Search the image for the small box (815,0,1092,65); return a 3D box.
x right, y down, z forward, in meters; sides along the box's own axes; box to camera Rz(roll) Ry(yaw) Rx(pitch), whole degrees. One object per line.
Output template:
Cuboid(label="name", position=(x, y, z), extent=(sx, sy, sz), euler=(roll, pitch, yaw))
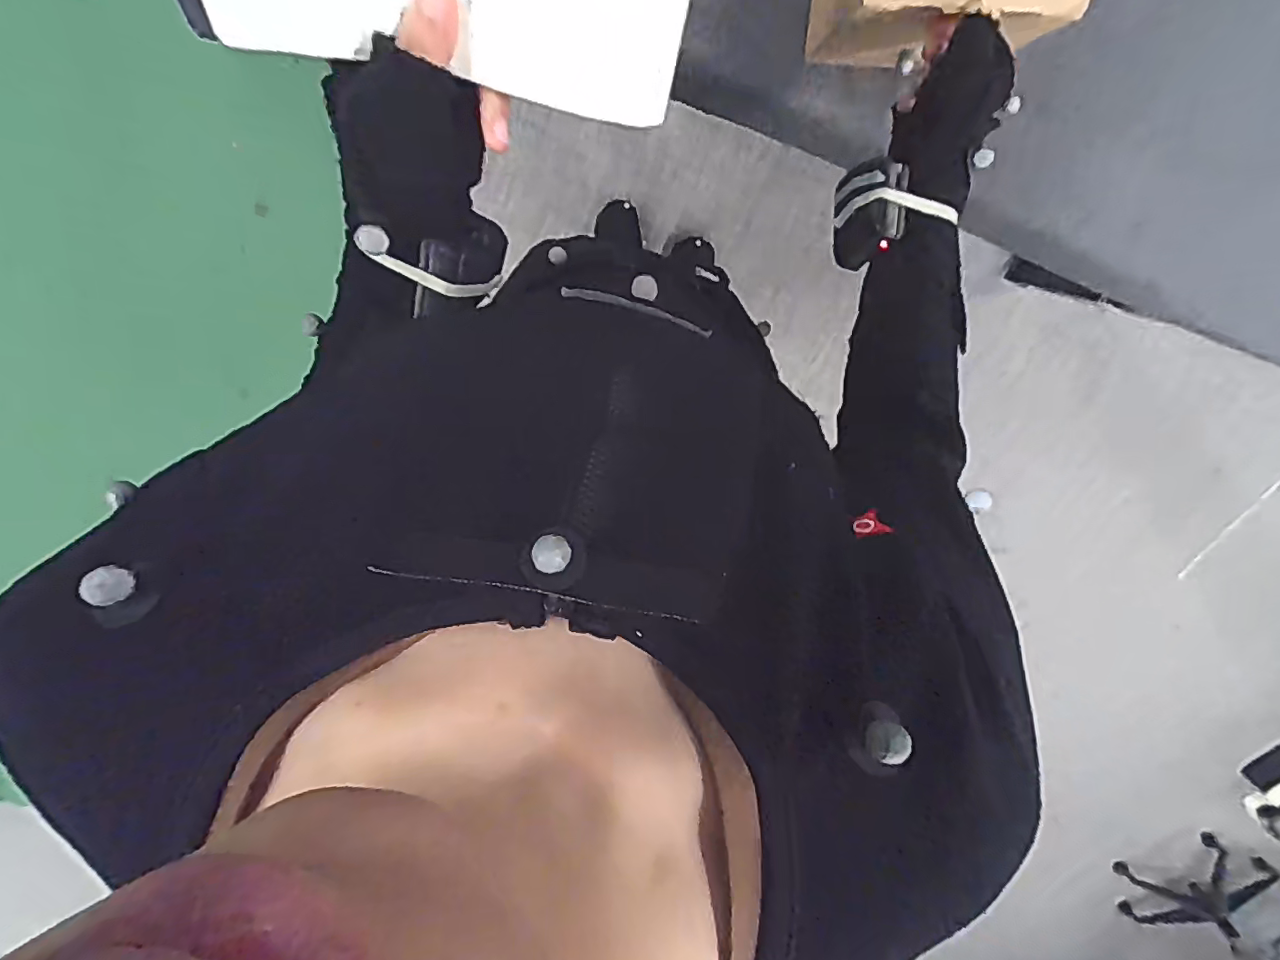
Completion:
Cuboid(label="small box", position=(0.251, -0.460, 0.427), extent=(0.168, 0.176, 0.179), euler=(3, 117, 0))
